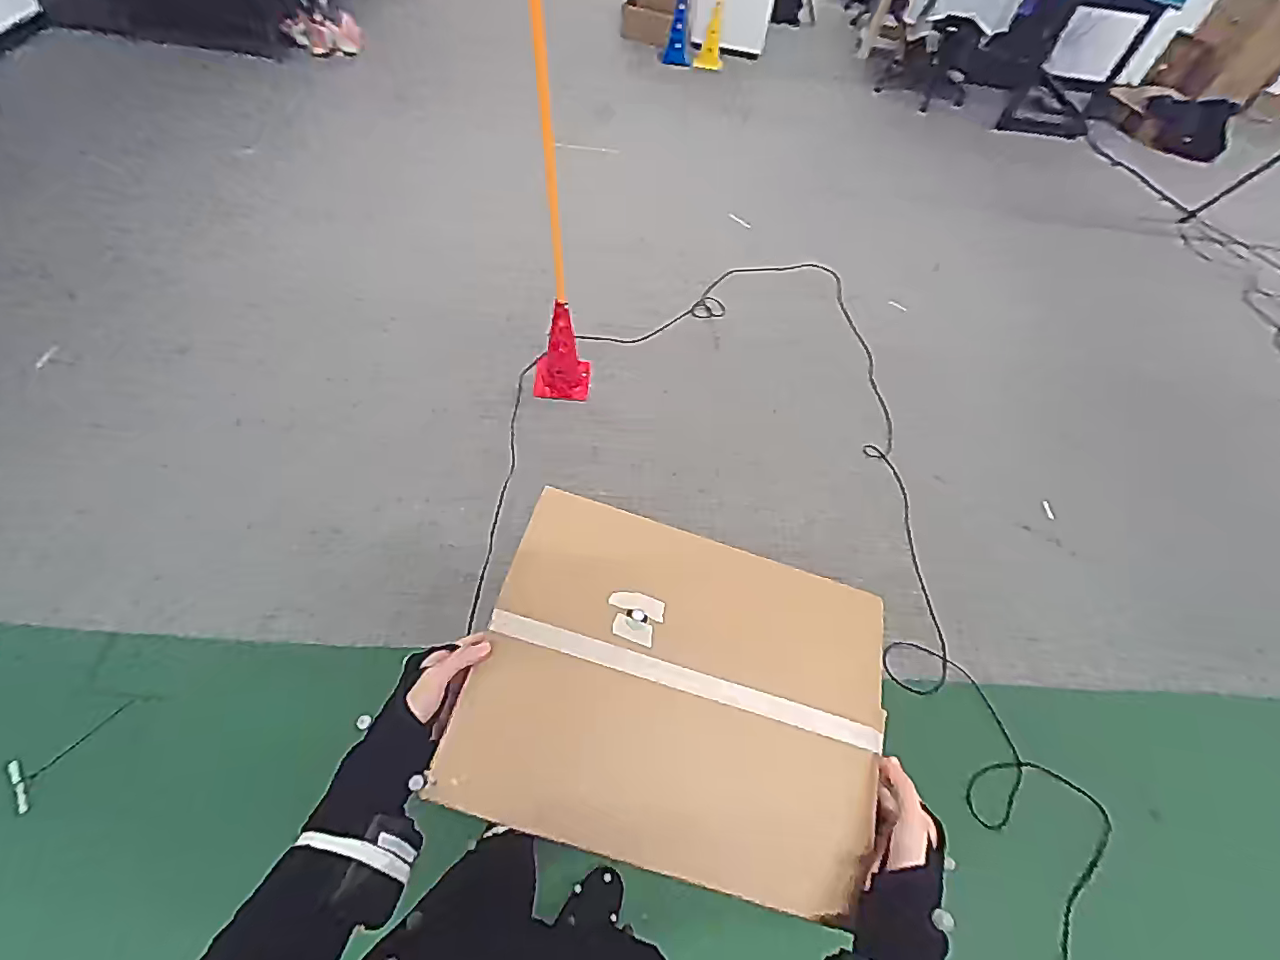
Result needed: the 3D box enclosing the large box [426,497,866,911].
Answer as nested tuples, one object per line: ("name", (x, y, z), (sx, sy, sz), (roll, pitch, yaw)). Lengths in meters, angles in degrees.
("large box", (0.014, 0.268, 0.682), (0.408, 0.320, 0.320), (18, 62, -2))
